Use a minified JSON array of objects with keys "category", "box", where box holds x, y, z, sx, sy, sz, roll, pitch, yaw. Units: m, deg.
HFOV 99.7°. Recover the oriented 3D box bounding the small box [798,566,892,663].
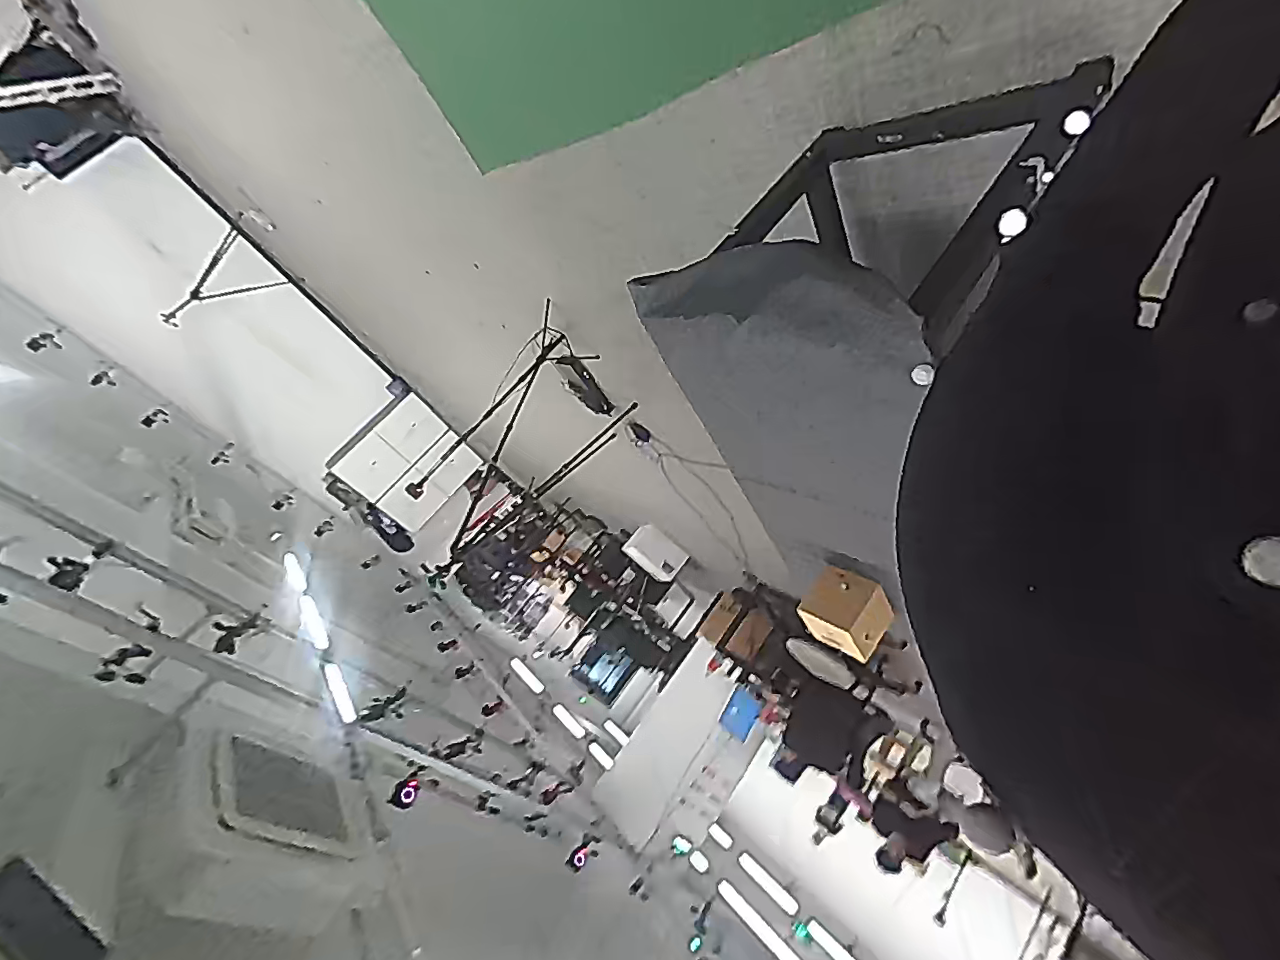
[{"category":"small box","box":[0.586,0.377,1.528,0.168,0.176,0.179,19,153,50]}]
